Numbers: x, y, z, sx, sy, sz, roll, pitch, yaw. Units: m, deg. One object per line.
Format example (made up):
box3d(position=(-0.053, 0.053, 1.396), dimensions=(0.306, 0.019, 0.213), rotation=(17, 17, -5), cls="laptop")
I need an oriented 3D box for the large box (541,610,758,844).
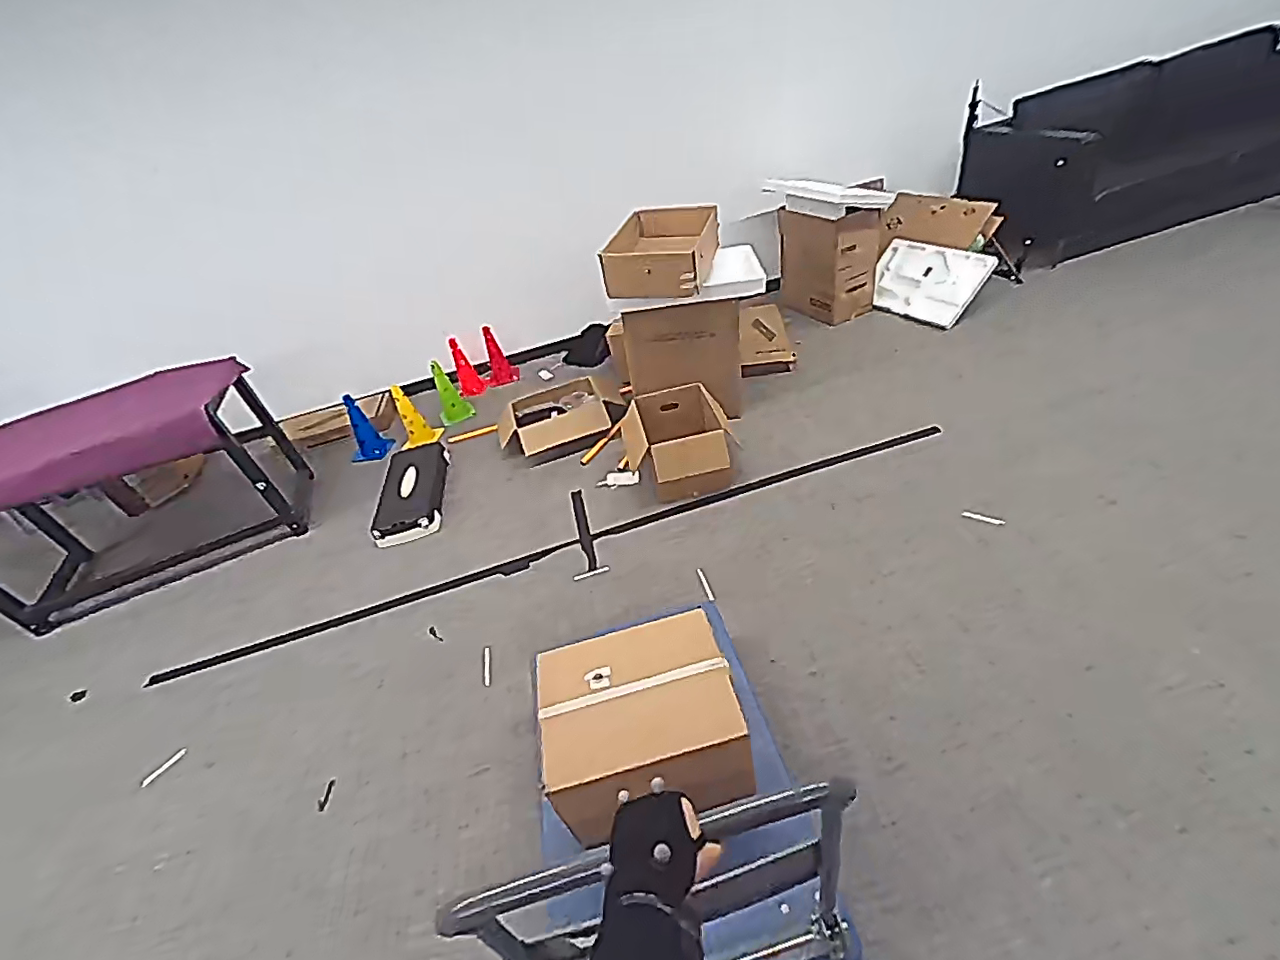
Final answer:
box3d(position=(0.019, 0.564, 1.243), dimensions=(0.408, 0.320, 0.320), rotation=(-16, 37, -2), cls="large box")
